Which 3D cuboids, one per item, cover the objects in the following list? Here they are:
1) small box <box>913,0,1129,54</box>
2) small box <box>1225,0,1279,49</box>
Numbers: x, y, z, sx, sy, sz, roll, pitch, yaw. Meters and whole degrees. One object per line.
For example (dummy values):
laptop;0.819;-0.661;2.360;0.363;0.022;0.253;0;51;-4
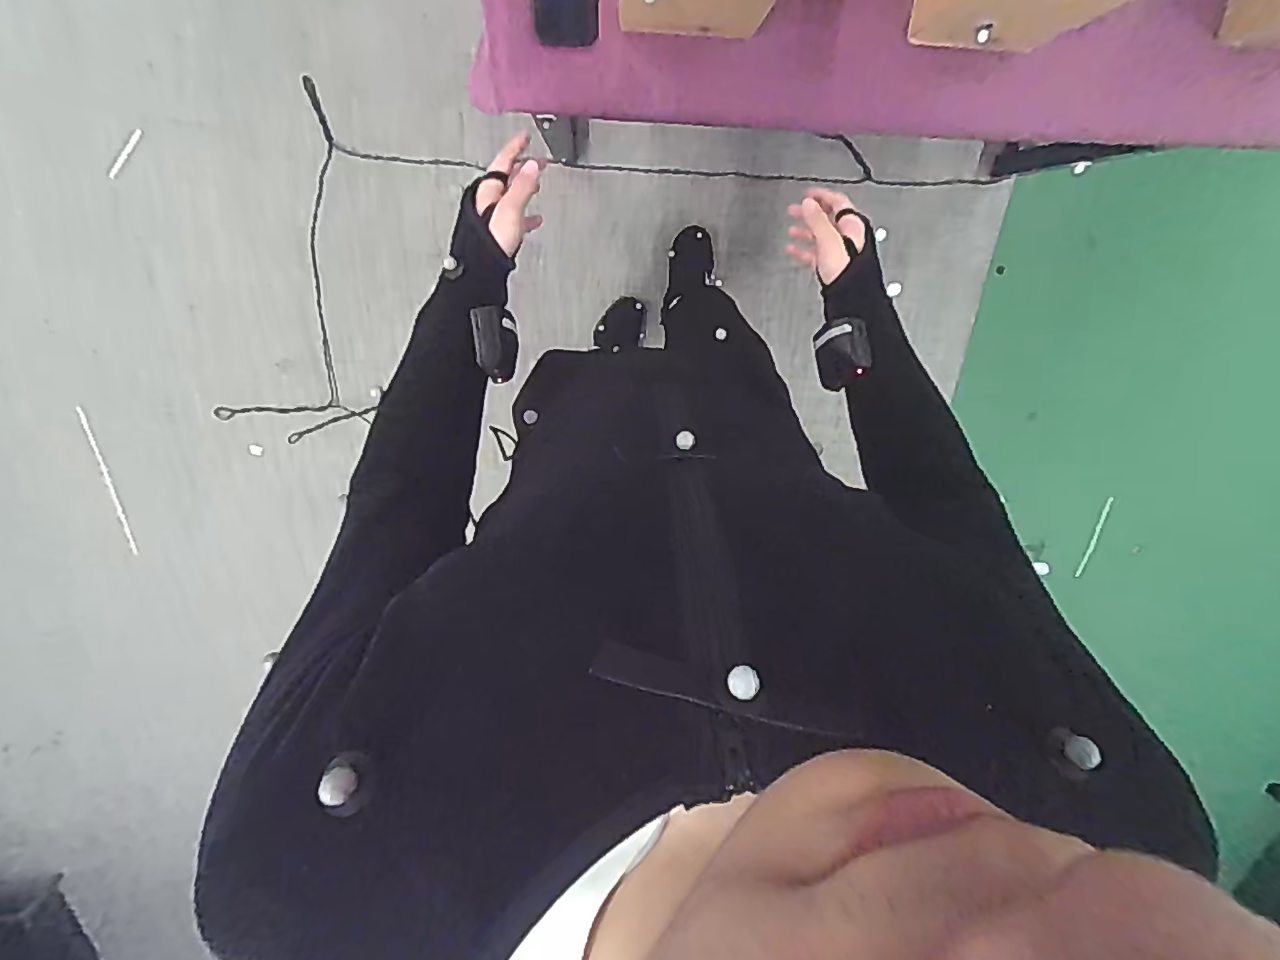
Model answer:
small box;0.427;-0.601;0.582;0.168;0.176;0.179;1;112;-5
small box;0.832;-0.616;0.600;0.168;0.176;0.179;-1;112;-2
